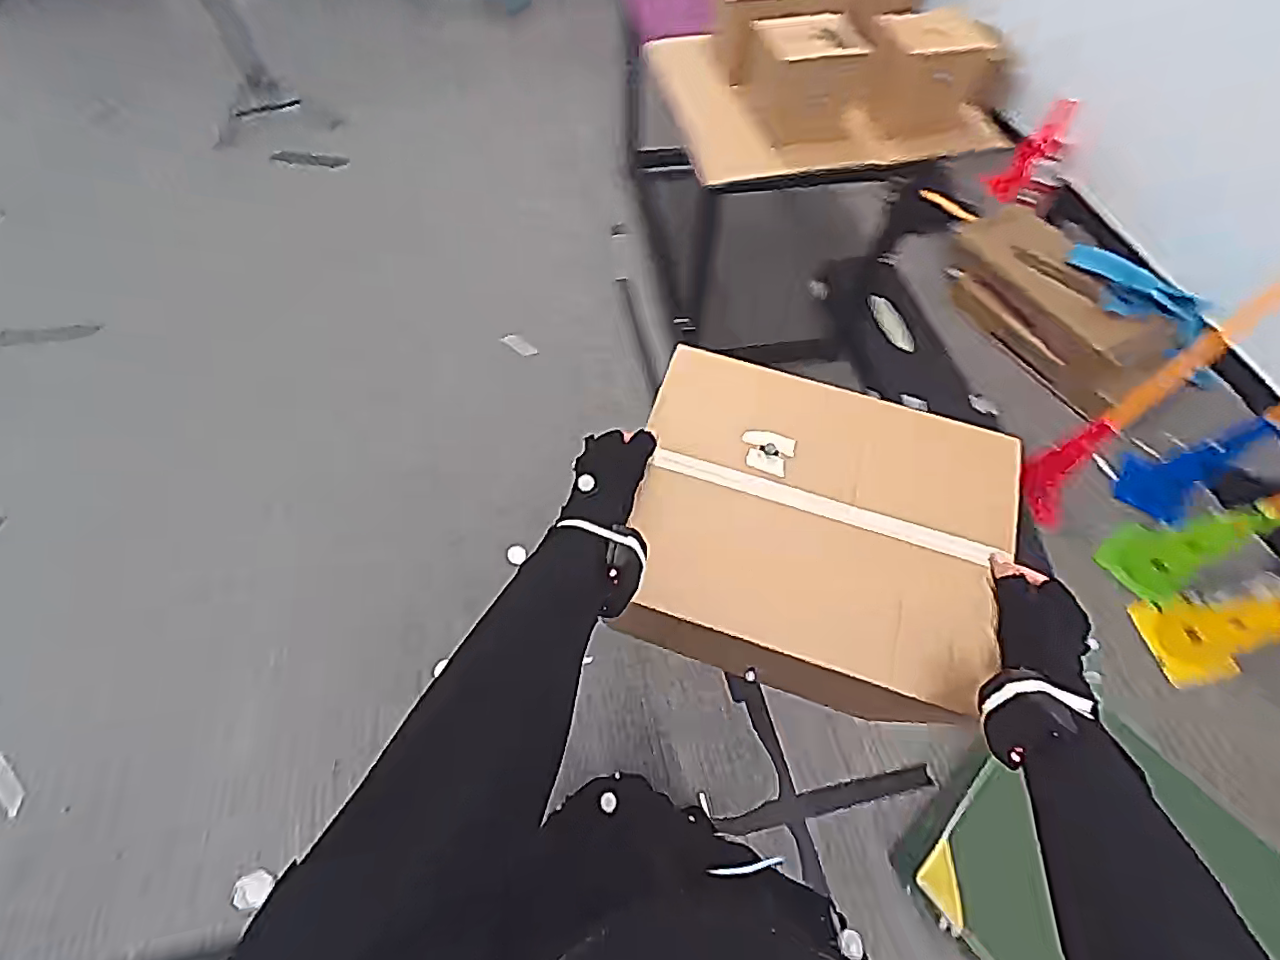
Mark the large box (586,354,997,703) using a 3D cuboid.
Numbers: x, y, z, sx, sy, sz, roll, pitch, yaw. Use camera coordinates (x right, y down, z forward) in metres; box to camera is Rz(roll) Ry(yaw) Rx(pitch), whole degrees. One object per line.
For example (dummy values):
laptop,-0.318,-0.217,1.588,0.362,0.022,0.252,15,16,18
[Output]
large box,0.181,0.085,0.725,0.408,0.320,0.320,16,67,8
